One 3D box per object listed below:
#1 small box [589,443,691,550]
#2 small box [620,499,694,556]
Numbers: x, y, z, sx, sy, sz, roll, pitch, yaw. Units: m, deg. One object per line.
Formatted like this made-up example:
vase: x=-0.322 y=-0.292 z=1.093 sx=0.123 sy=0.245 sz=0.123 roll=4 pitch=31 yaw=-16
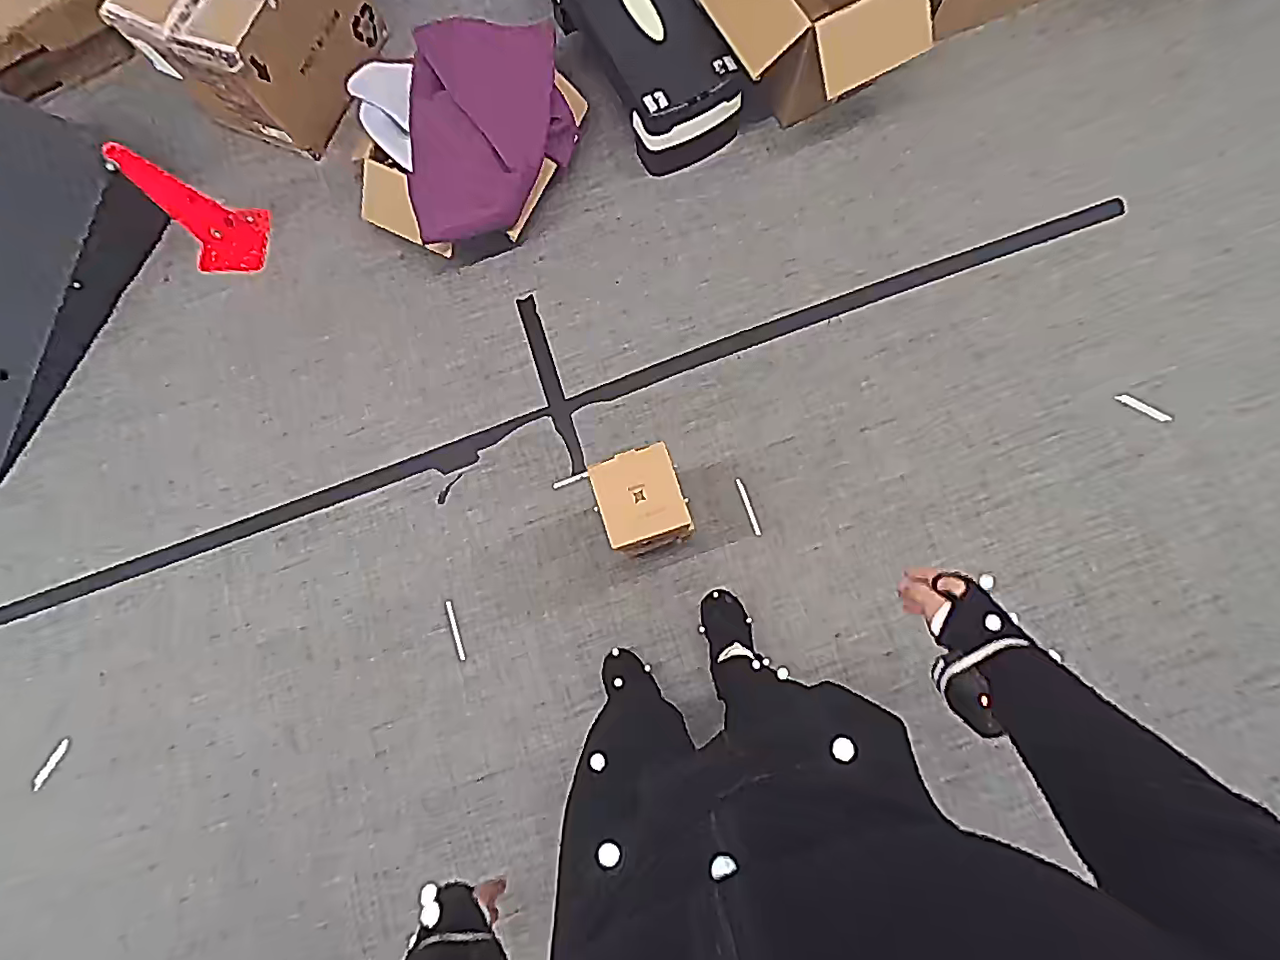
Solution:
small box: x=0.002 y=0.043 z=1.146 sx=0.168 sy=0.176 sz=0.179 roll=-19 pitch=81 yaw=1
small box: x=0.018 y=0.079 z=1.304 sx=0.179 sy=0.176 sz=0.168 roll=-20 pitch=80 yaw=0
